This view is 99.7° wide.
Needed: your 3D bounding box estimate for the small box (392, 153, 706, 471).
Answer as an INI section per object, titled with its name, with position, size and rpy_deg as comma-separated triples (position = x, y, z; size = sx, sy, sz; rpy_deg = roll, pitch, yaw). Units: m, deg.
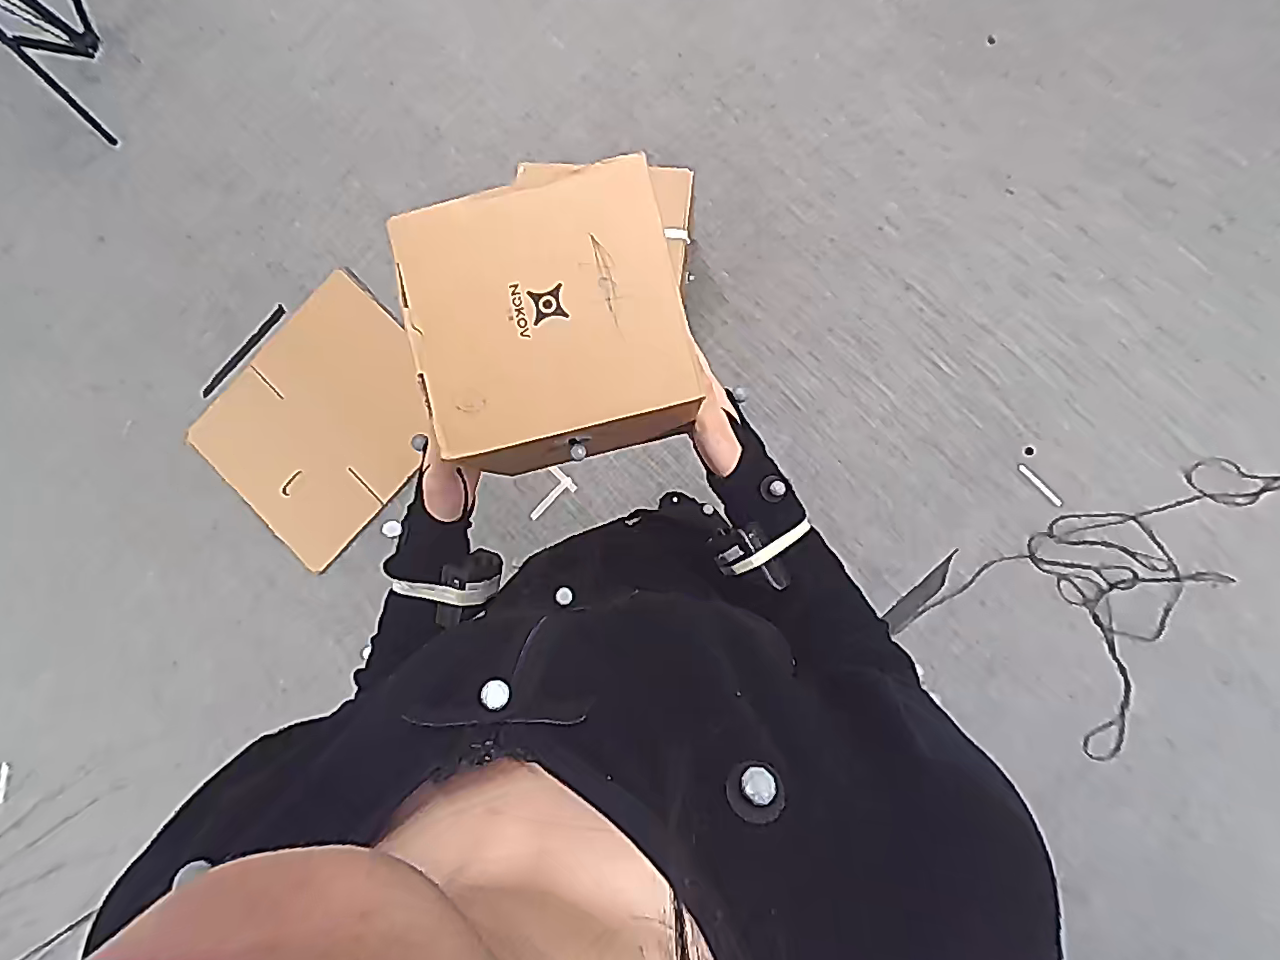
[small box]
position = -0.056, -0.107, 0.423
size = 0.179, 0.176, 0.168
rpy_deg = -14, 88, 1
